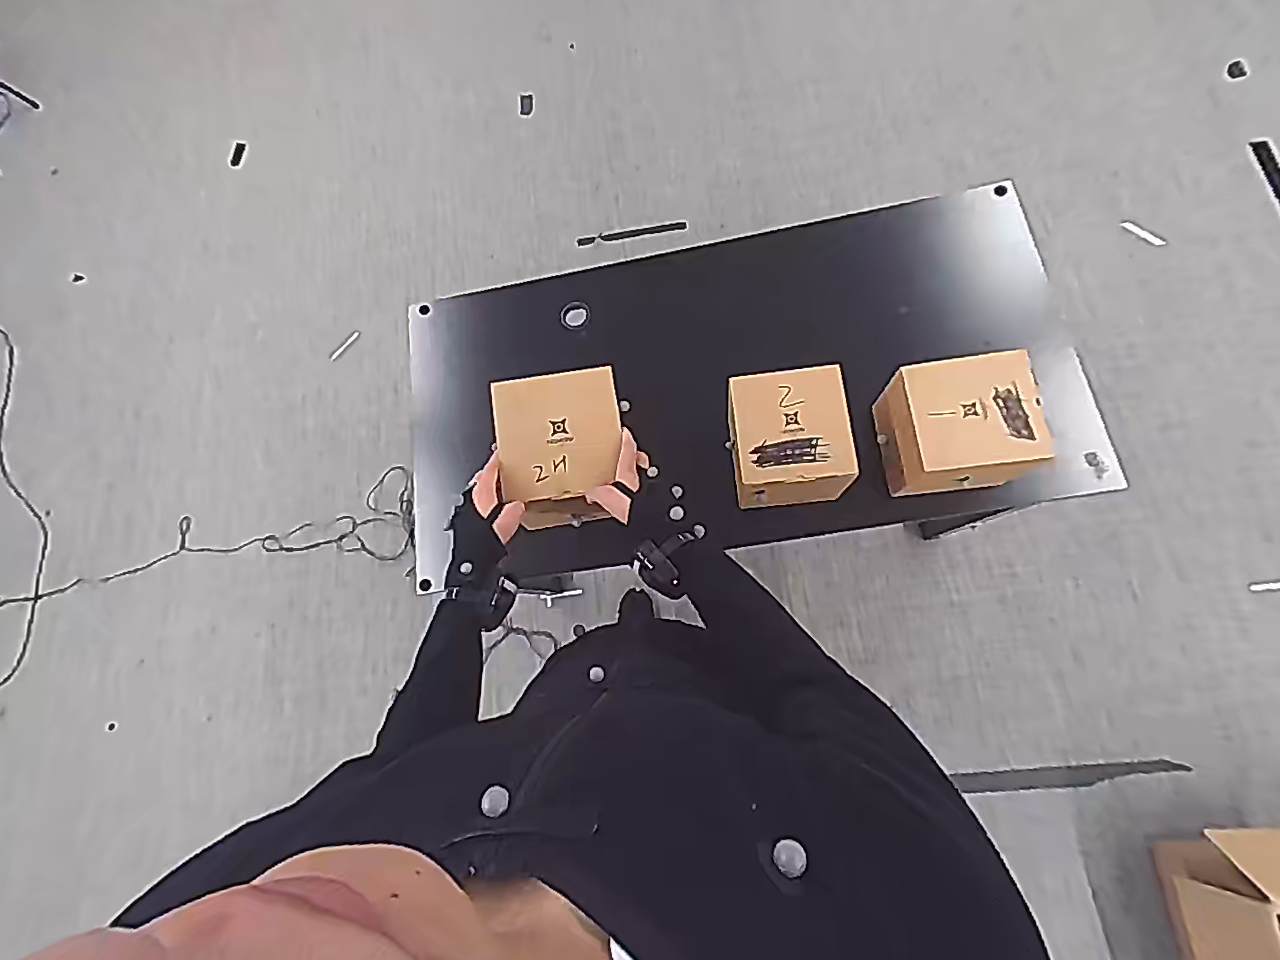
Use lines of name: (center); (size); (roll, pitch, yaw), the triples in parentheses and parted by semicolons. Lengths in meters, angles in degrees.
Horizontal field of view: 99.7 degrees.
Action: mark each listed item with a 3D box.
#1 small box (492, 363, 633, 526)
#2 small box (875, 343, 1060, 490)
small box: (-0.105, -0.044, 0.779); (0.168, 0.176, 0.179); (-10, 75, -2)
small box: (0.486, -0.088, 0.831); (0.179, 0.176, 0.168); (-8, 75, 8)
